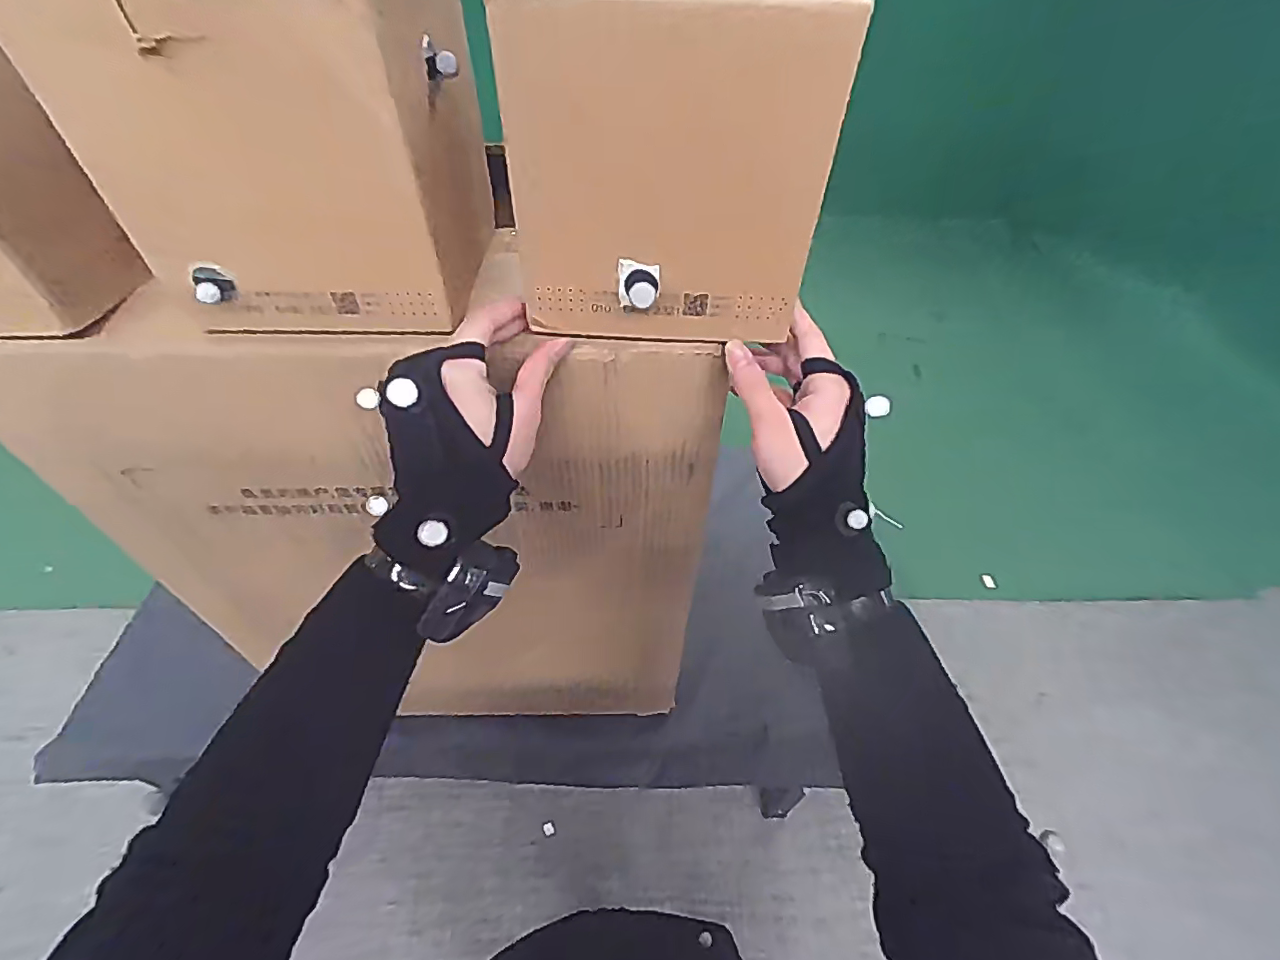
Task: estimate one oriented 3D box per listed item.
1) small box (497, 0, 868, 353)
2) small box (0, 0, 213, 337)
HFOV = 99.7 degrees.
[{"bbox_3d":[0.017,-0.203,0.349,0.168,0.176,0.179,1,48,-1],"label":"small box"},{"bbox_3d":[-0.420,-0.207,0.334,0.168,0.176,0.179,0,47,2],"label":"small box"}]
